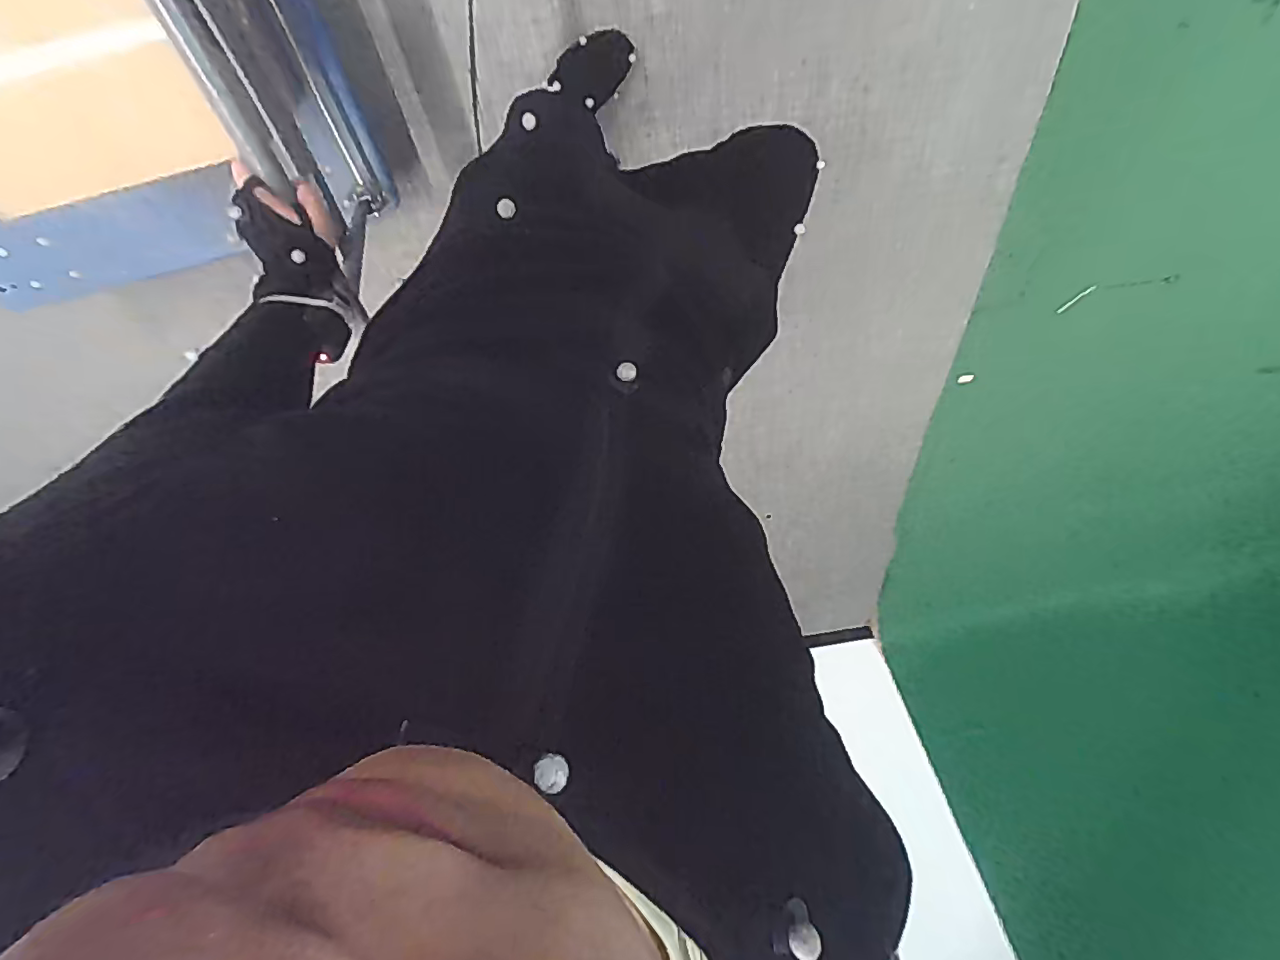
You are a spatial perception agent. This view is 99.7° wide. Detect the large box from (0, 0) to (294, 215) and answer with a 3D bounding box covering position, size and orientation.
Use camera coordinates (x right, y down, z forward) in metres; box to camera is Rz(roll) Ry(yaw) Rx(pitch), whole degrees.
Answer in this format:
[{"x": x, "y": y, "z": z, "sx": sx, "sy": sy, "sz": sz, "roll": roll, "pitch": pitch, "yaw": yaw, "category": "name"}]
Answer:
[{"x": -0.825, "y": -0.660, "z": 0.805, "sx": 0.408, "sy": 0.320, "sz": 0.320, "roll": -17, "pitch": 137, "yaw": -2, "category": "large box"}]
